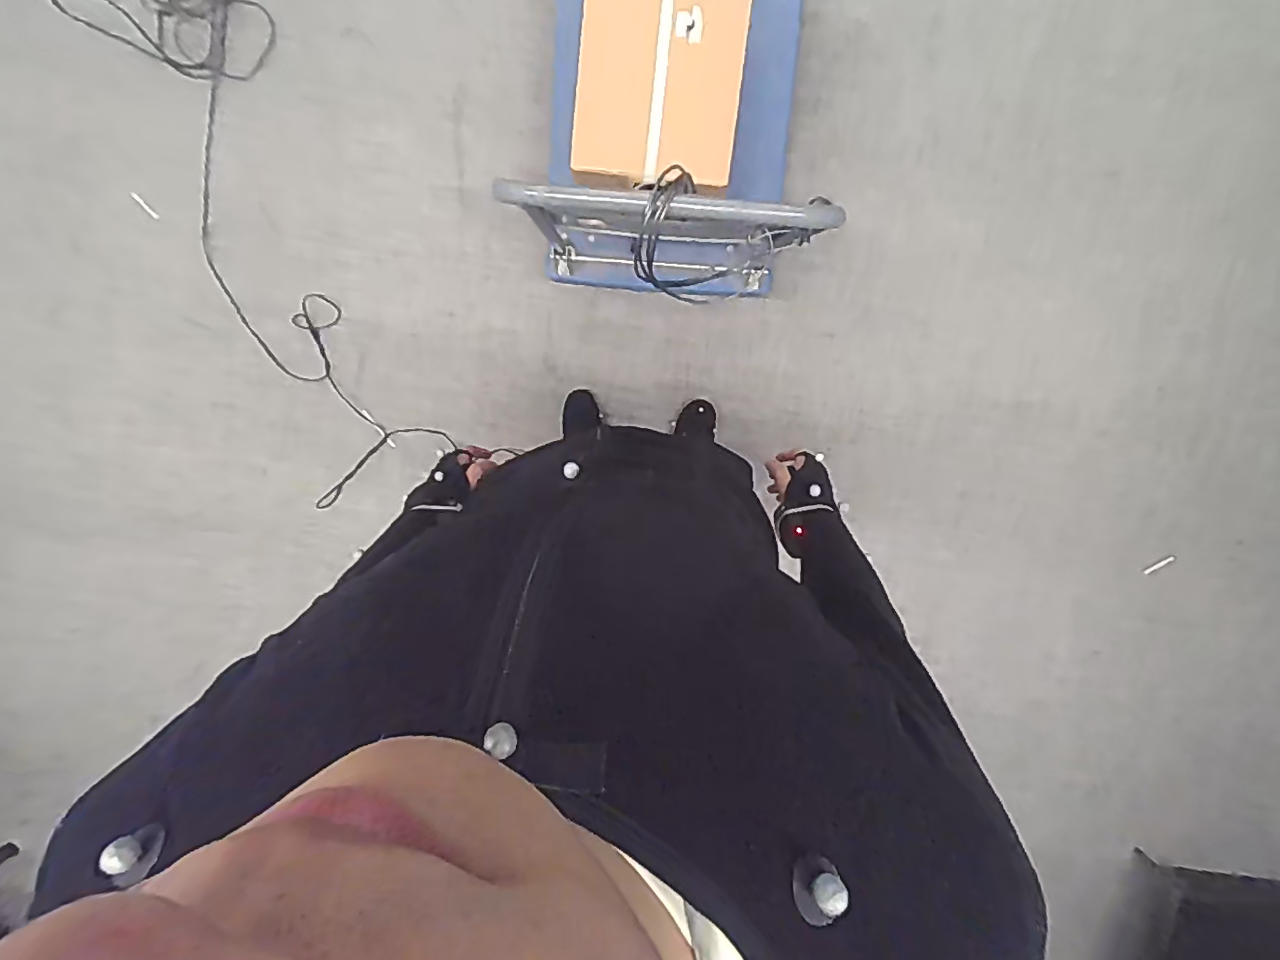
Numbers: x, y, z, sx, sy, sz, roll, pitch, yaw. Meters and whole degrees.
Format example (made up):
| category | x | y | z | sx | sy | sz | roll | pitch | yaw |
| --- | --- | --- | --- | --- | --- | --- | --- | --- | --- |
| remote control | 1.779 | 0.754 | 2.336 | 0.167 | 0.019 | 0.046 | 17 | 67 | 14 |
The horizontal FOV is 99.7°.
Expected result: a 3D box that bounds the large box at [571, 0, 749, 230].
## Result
| category | x | y | z | sx | sy | sz | roll | pitch | yaw |
| --- | --- | --- | --- | --- | --- | --- | --- | --- | --- |
| large box | 0.041 | -0.807 | 1.174 | 0.320 | 0.320 | 0.408 | 7 | 99 | 0 |
